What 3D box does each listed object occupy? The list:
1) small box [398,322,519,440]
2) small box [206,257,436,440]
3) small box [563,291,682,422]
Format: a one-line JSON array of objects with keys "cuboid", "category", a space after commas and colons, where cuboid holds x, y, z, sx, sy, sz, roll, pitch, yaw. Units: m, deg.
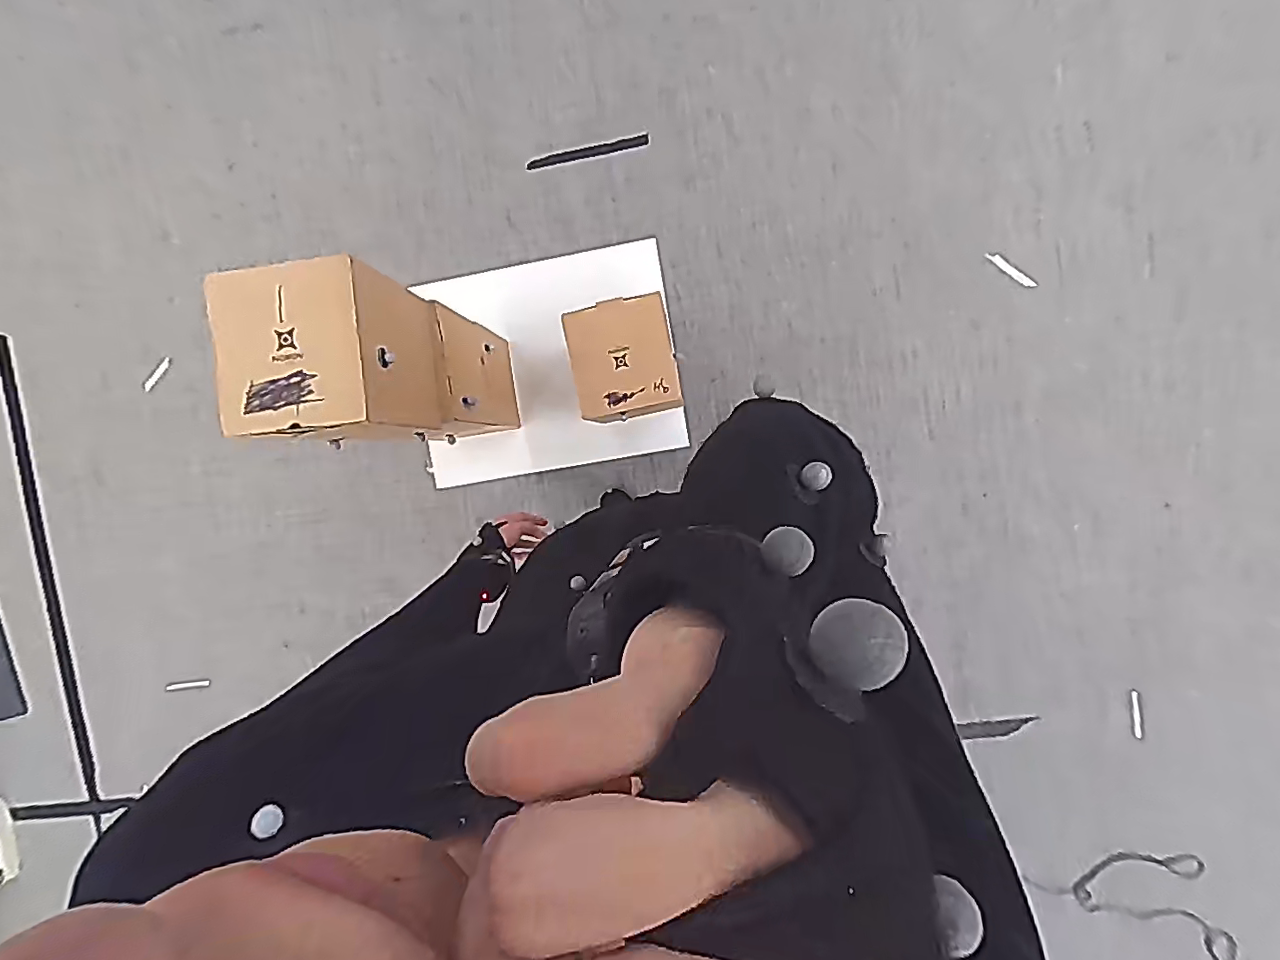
[{"cuboid": [-0.328, -0.168, 0.970, 0.168, 0.176, 0.179, -8, 93, 4], "category": "small box"}, {"cuboid": [-0.360, -0.141, 0.643, 0.168, 0.176, 0.179, -5, 92, 5], "category": "small box"}, {"cuboid": [-0.023, -0.203, 0.942, 0.168, 0.176, 0.179, -11, 92, 6], "category": "small box"}]
